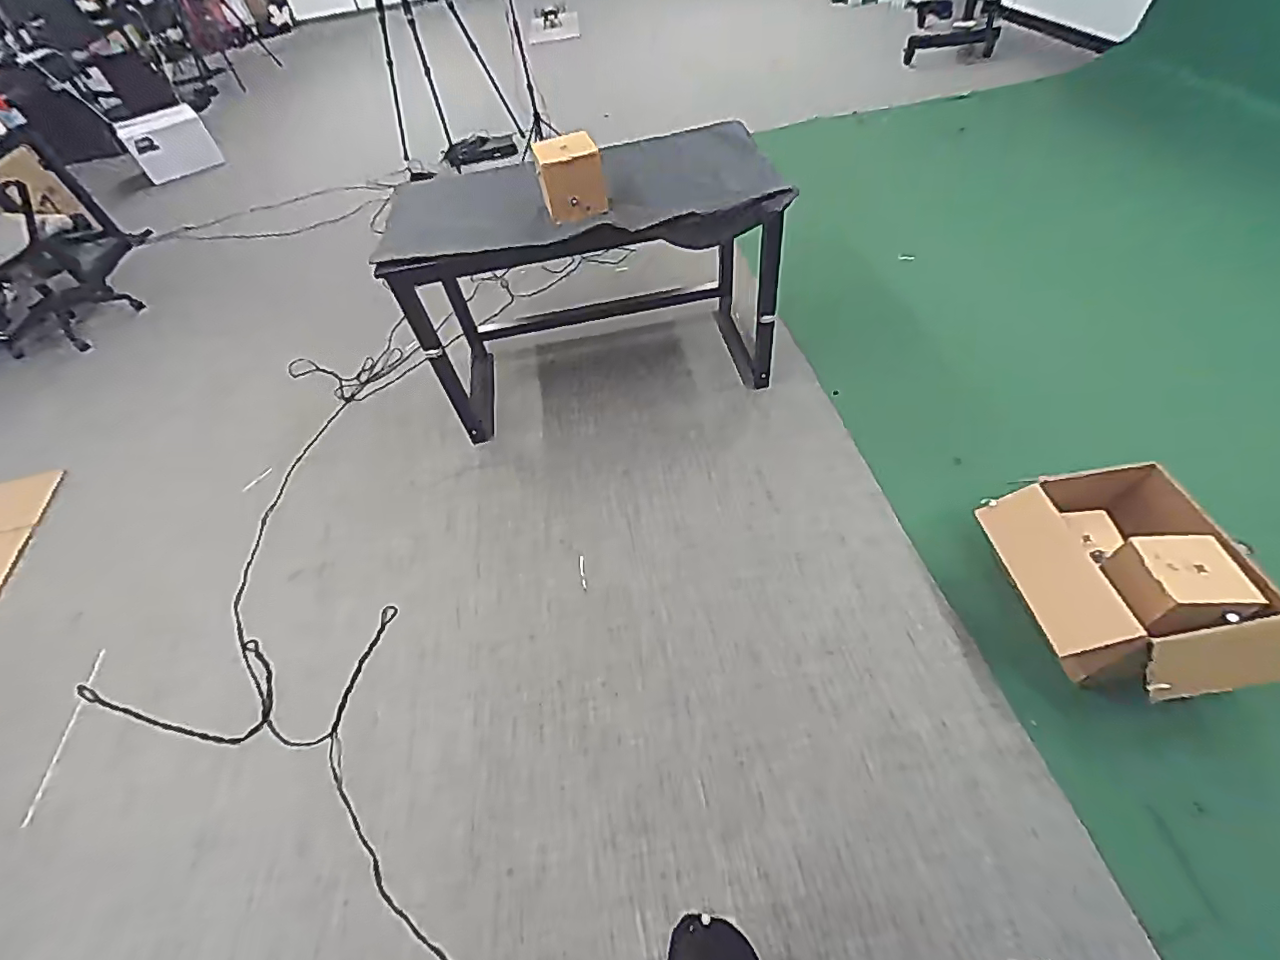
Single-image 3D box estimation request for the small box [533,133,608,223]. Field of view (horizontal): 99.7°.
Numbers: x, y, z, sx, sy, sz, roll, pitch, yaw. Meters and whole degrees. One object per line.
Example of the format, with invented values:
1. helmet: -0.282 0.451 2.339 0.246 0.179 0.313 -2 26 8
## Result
1. small box: -0.201 -0.878 1.575 0.168 0.176 0.179 -17 51 -6
